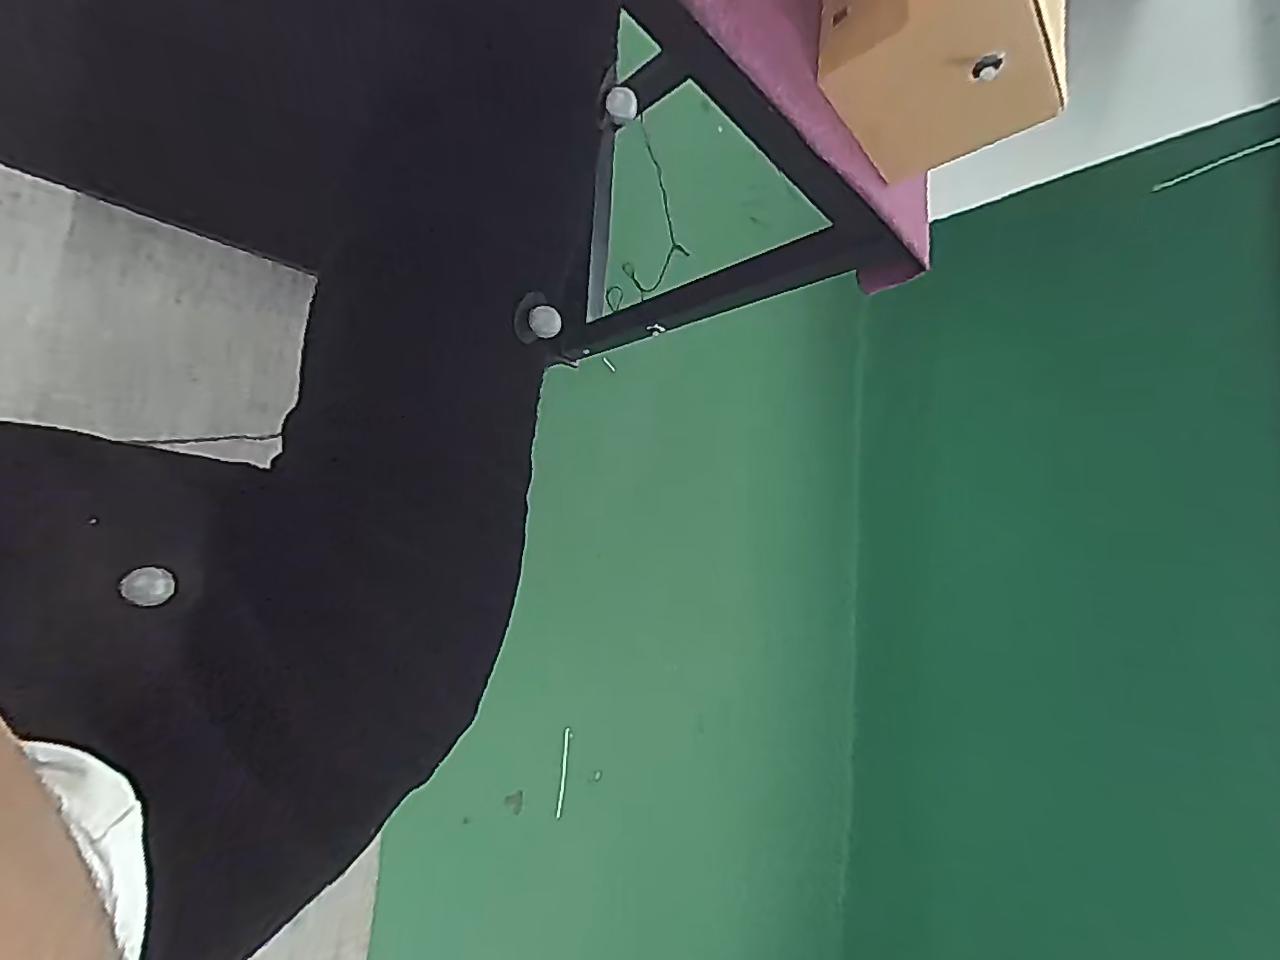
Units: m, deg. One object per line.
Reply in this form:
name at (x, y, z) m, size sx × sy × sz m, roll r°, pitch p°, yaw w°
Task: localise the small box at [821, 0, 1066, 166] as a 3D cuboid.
small box at (0.293, -0.452, 0.527) m, size 0.179 × 0.176 × 0.168 m, roll 17°, pitch 77°, yaw -43°
